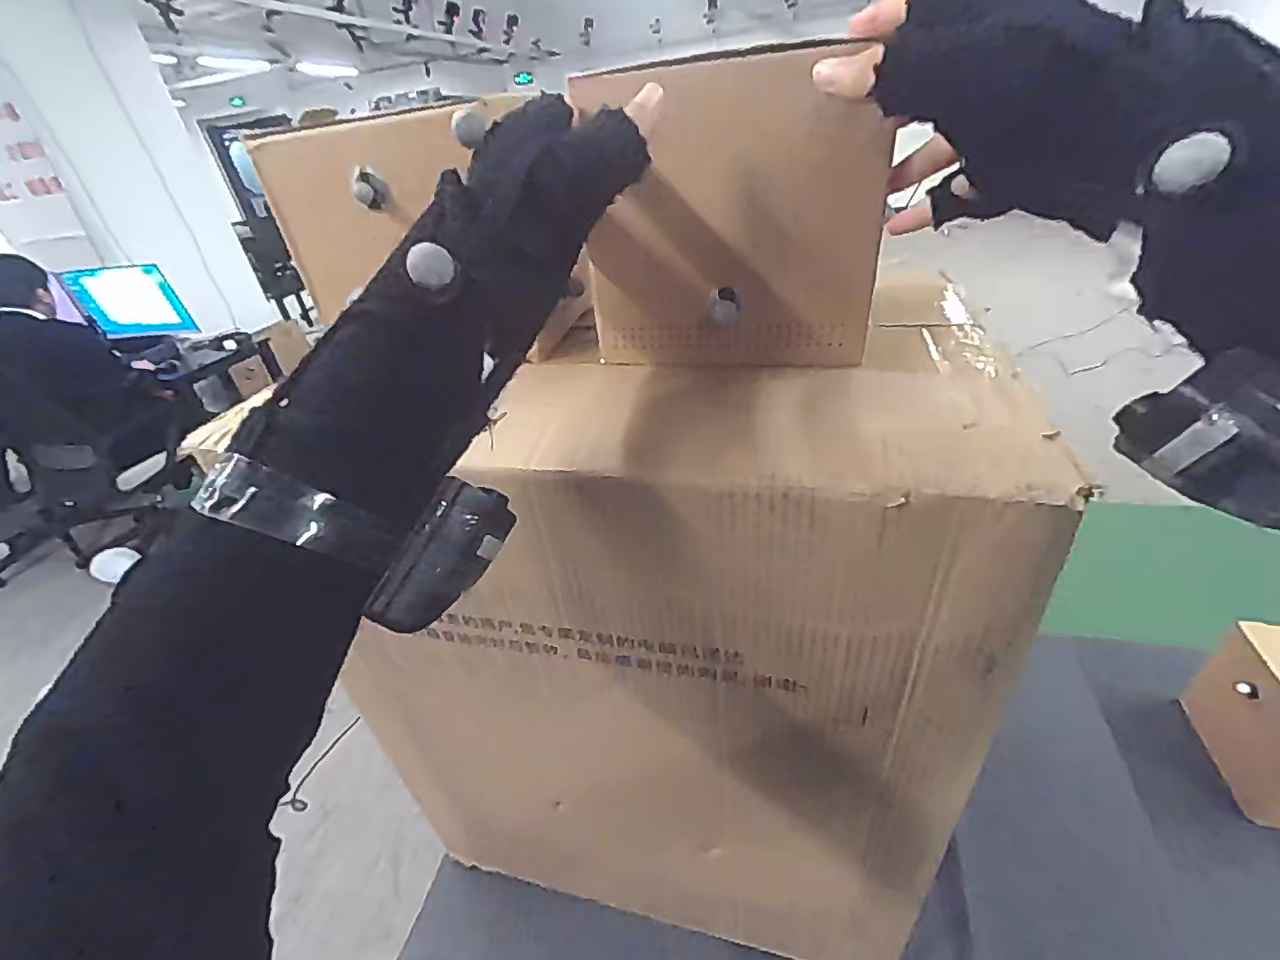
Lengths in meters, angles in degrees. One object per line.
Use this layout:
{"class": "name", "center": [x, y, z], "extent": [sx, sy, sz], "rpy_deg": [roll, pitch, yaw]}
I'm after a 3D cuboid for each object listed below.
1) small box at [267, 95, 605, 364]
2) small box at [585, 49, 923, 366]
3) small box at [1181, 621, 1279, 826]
{"class": "small box", "center": [-0.139, -0.203, 0.443], "extent": [0.179, 0.176, 0.168], "rpy_deg": [2, 36, 12]}
{"class": "small box", "center": [0.076, -0.189, 0.387], "extent": [0.179, 0.176, 0.168], "rpy_deg": [4, 34, 13]}
{"class": "small box", "center": [0.827, 0.305, 0.658], "extent": [0.168, 0.176, 0.179], "rpy_deg": [4, 35, 17]}
